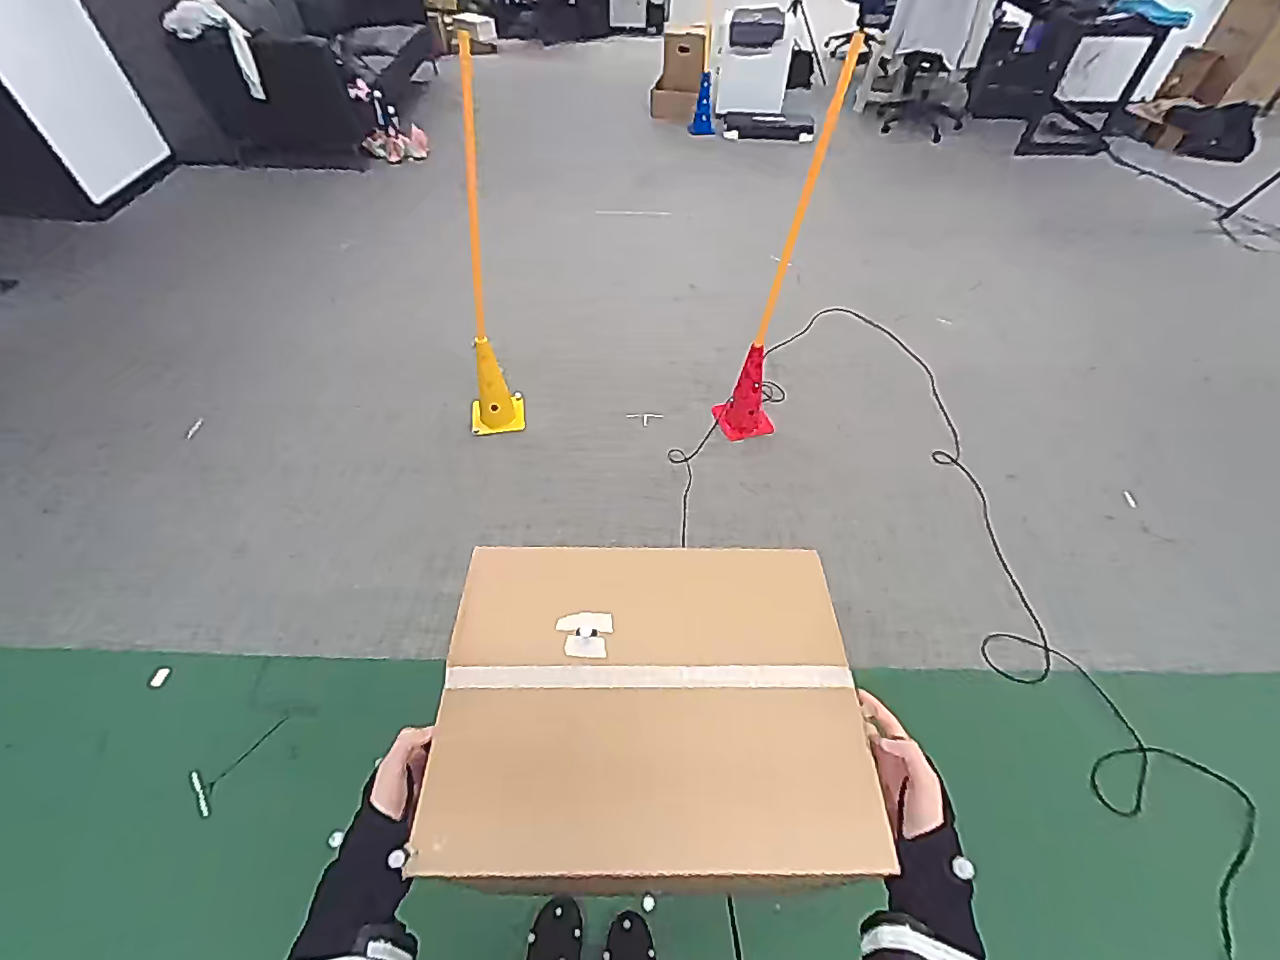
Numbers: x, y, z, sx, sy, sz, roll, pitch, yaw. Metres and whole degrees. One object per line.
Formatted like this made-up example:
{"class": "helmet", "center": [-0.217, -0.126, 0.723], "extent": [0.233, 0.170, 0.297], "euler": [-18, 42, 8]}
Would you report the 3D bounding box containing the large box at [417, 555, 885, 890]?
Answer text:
{"class": "large box", "center": [0.009, 0.303, 0.661], "extent": [0.408, 0.320, 0.320], "euler": [0, 50, -1]}
